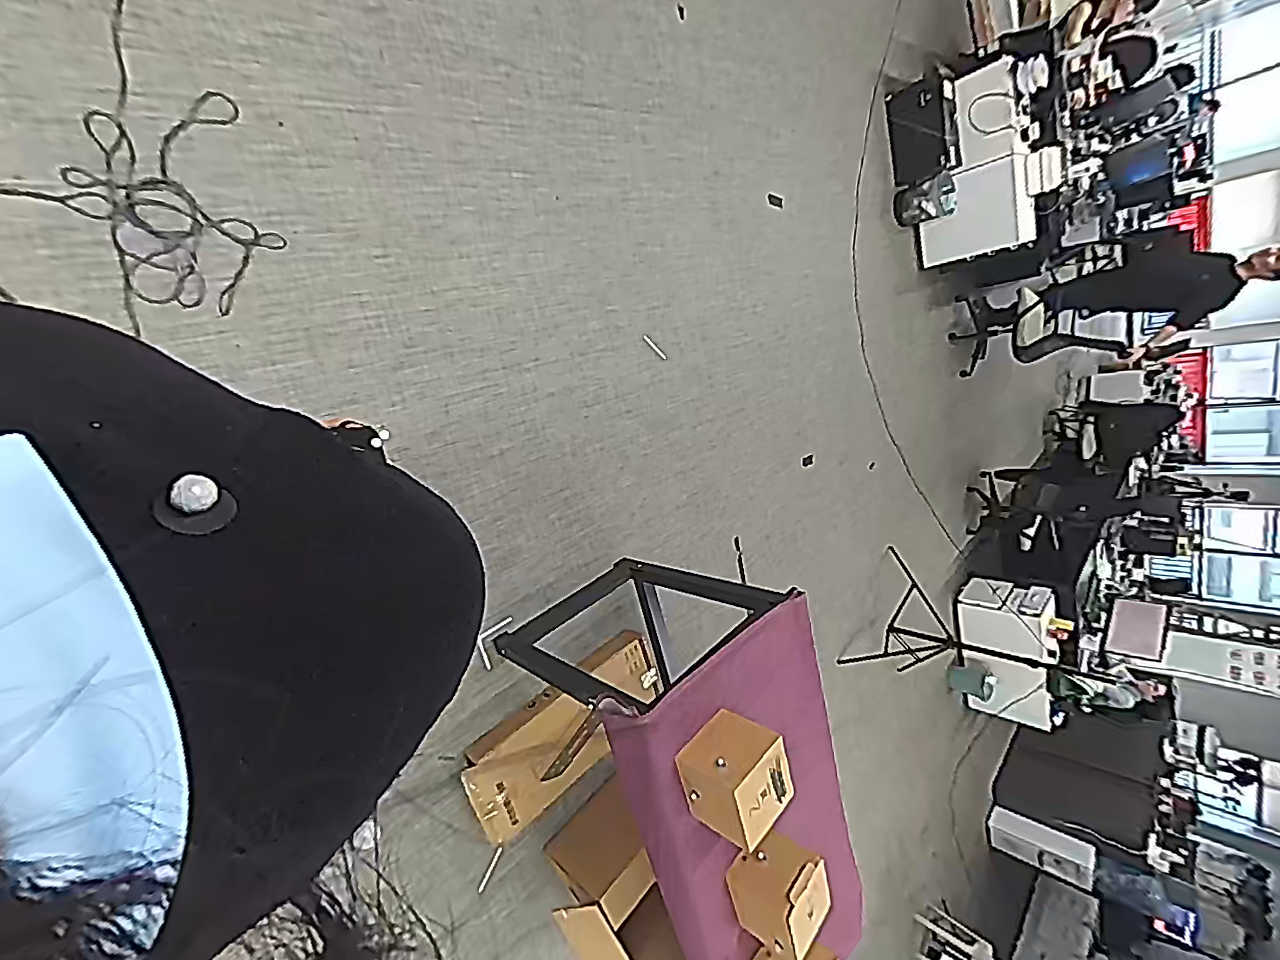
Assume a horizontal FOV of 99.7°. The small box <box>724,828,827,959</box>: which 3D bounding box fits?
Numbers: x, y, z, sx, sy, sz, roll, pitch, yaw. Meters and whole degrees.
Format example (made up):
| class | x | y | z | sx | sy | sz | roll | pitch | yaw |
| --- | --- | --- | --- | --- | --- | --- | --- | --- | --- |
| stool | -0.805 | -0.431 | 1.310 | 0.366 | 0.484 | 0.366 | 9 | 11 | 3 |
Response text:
| class | x | y | z | sx | sy | sz | roll | pitch | yaw |
| --- | --- | --- | --- | --- | --- | --- | --- | --- | --- |
| small box | 0.328 | 1.003 | 1.317 | 0.168 | 0.176 | 0.179 | -29 | 111 | -40 |
